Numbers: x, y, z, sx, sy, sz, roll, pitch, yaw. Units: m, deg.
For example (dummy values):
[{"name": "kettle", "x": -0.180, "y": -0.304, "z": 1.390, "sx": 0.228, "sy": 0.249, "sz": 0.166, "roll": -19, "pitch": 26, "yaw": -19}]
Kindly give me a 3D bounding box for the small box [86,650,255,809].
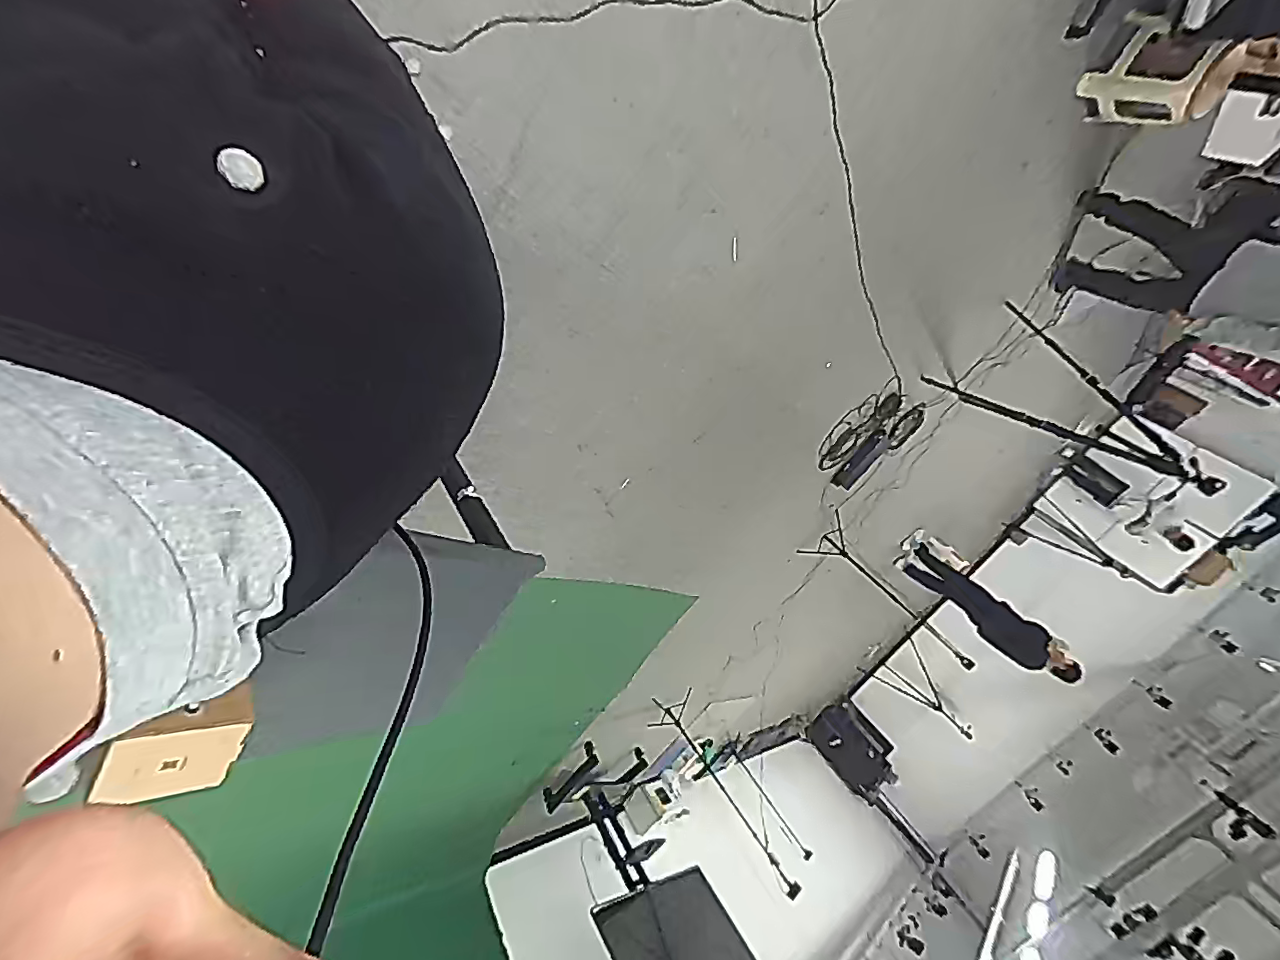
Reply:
[{"name": "small box", "x": -0.787, "y": 0.405, "z": 0.911, "sx": 0.179, "sy": 0.176, "sz": 0.168, "roll": 16, "pitch": 114, "yaw": -48}]
